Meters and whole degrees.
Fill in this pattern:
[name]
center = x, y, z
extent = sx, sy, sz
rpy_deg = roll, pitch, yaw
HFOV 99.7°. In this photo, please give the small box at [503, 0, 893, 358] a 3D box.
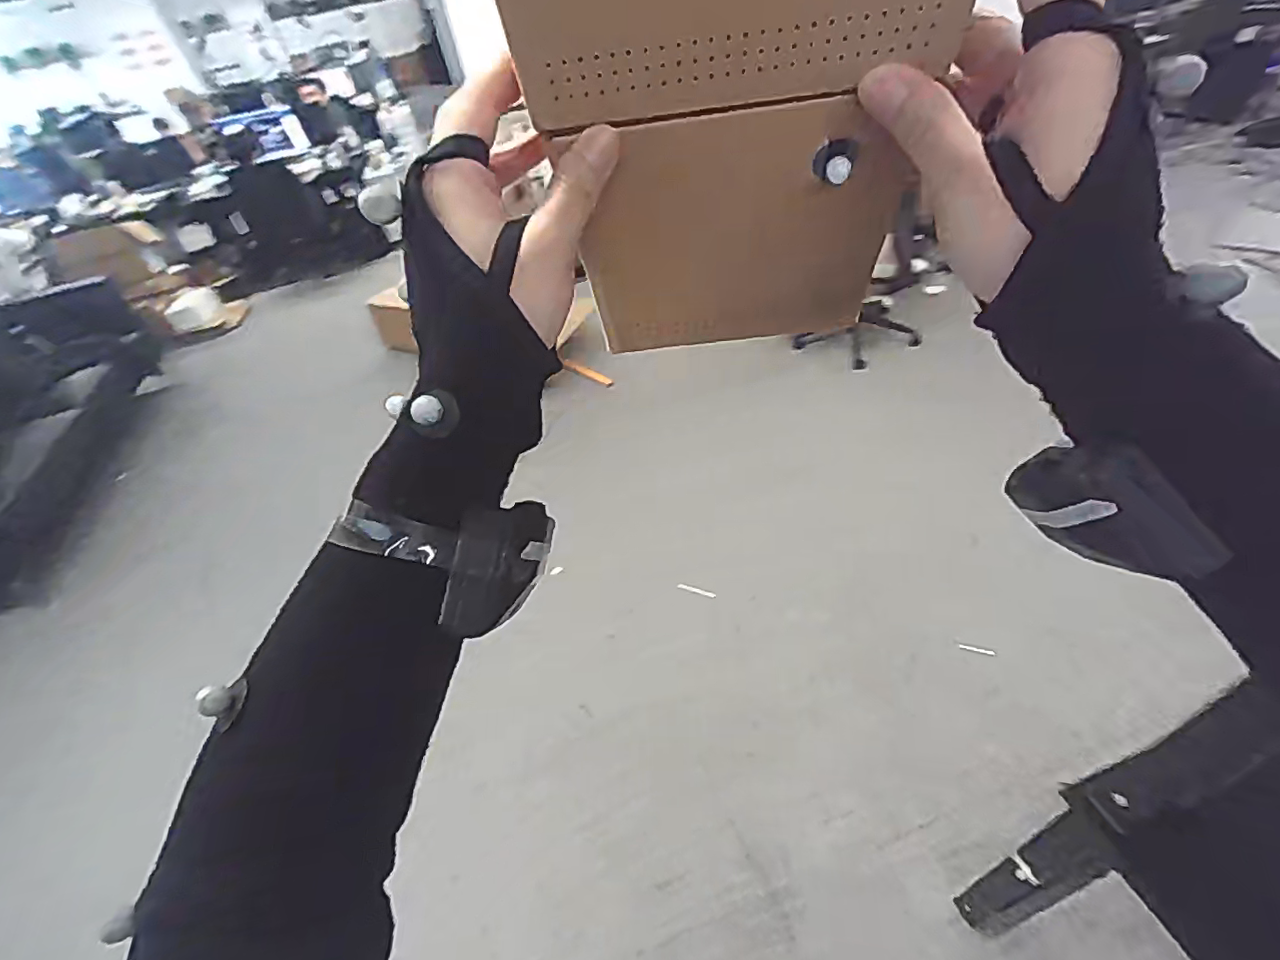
[small box]
center = 0.029, -0.195, 0.341
extent = 0.179, 0.176, 0.168
rpy_deg = -7, 67, 5
